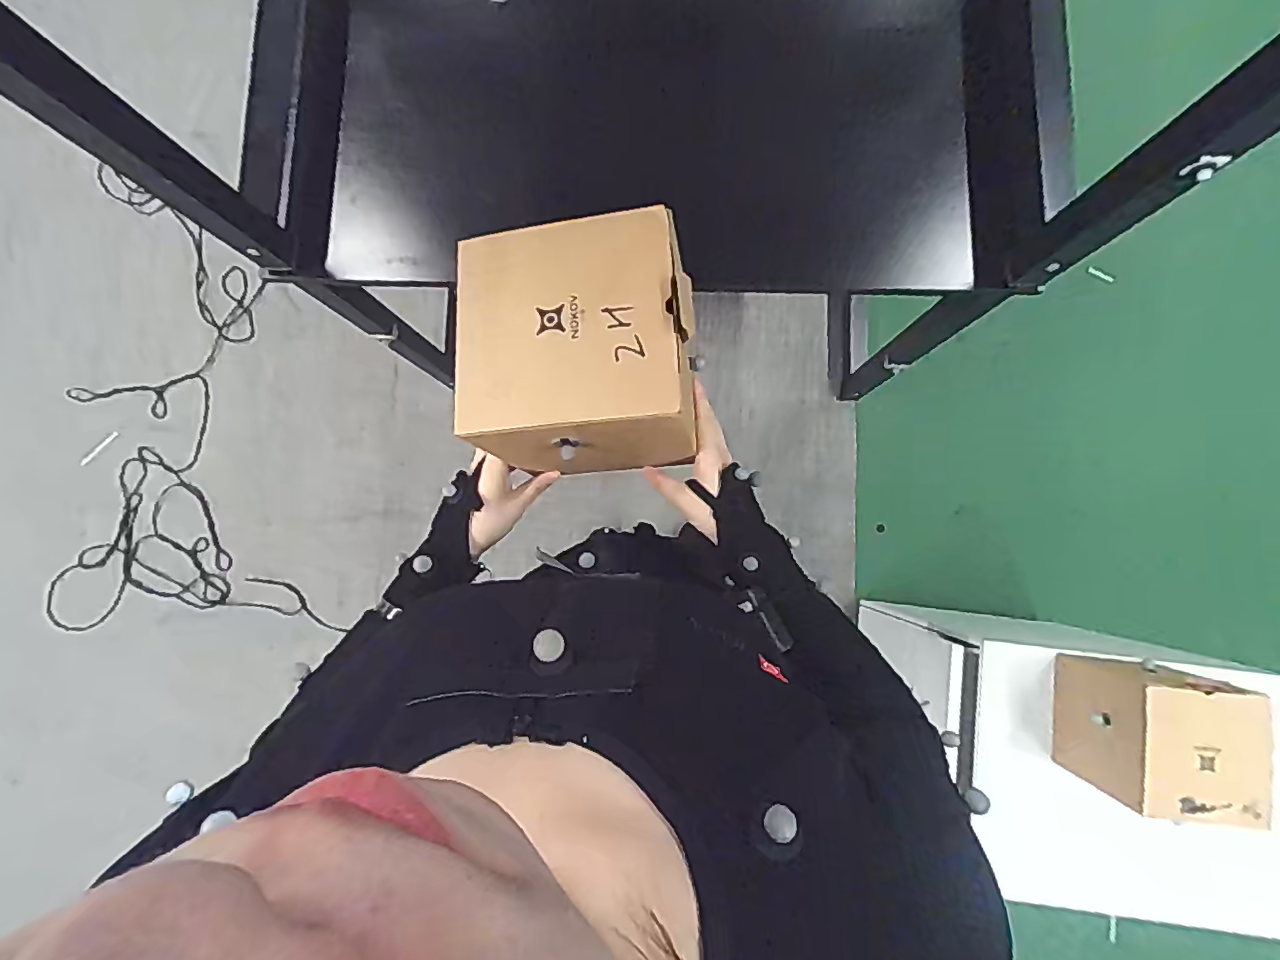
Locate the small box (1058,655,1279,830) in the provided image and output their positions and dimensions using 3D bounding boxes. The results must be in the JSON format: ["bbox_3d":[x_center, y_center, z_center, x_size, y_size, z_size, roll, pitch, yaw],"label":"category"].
[{"bbox_3d":[0.746,0.362,0.780,0.168,0.176,0.179,5,85,3],"label":"small box"}]

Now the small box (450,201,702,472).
[{"bbox_3d":[-0.043,-0.105,0.474,0.179,0.176,0.168,-4,79,10],"label":"small box"}]
